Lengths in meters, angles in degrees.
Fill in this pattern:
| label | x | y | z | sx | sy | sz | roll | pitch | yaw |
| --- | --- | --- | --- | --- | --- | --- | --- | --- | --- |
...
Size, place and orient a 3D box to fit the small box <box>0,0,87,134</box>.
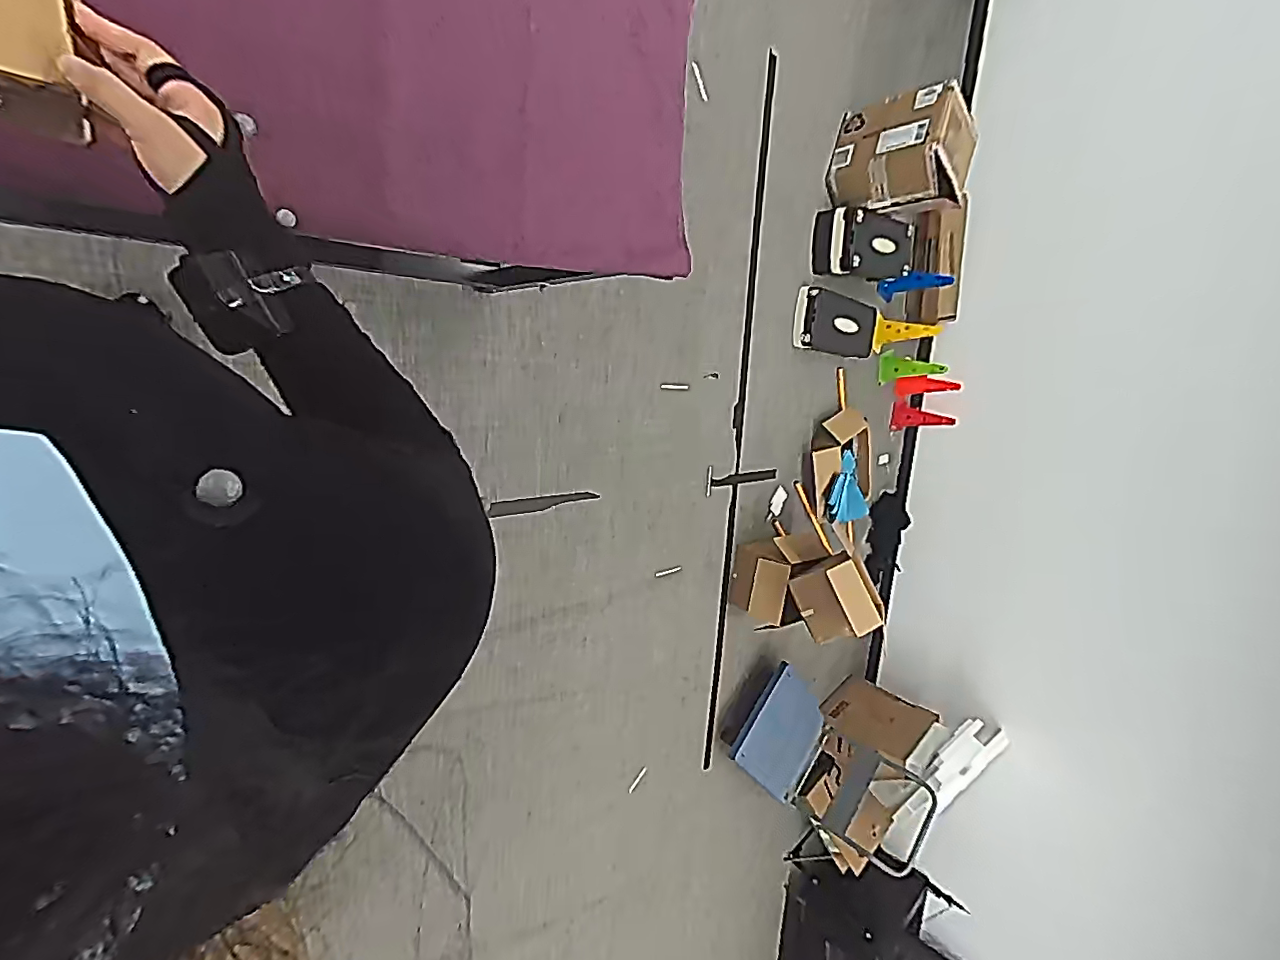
| label | x | y | z | sx | sy | sz | roll | pitch | yaw |
| --- | --- | --- | --- | --- | --- | --- | --- | --- | --- |
| small box | -0.462 | -0.334 | 0.321 | 0.179 | 0.176 | 0.168 | -8 | 109 | -45 |
